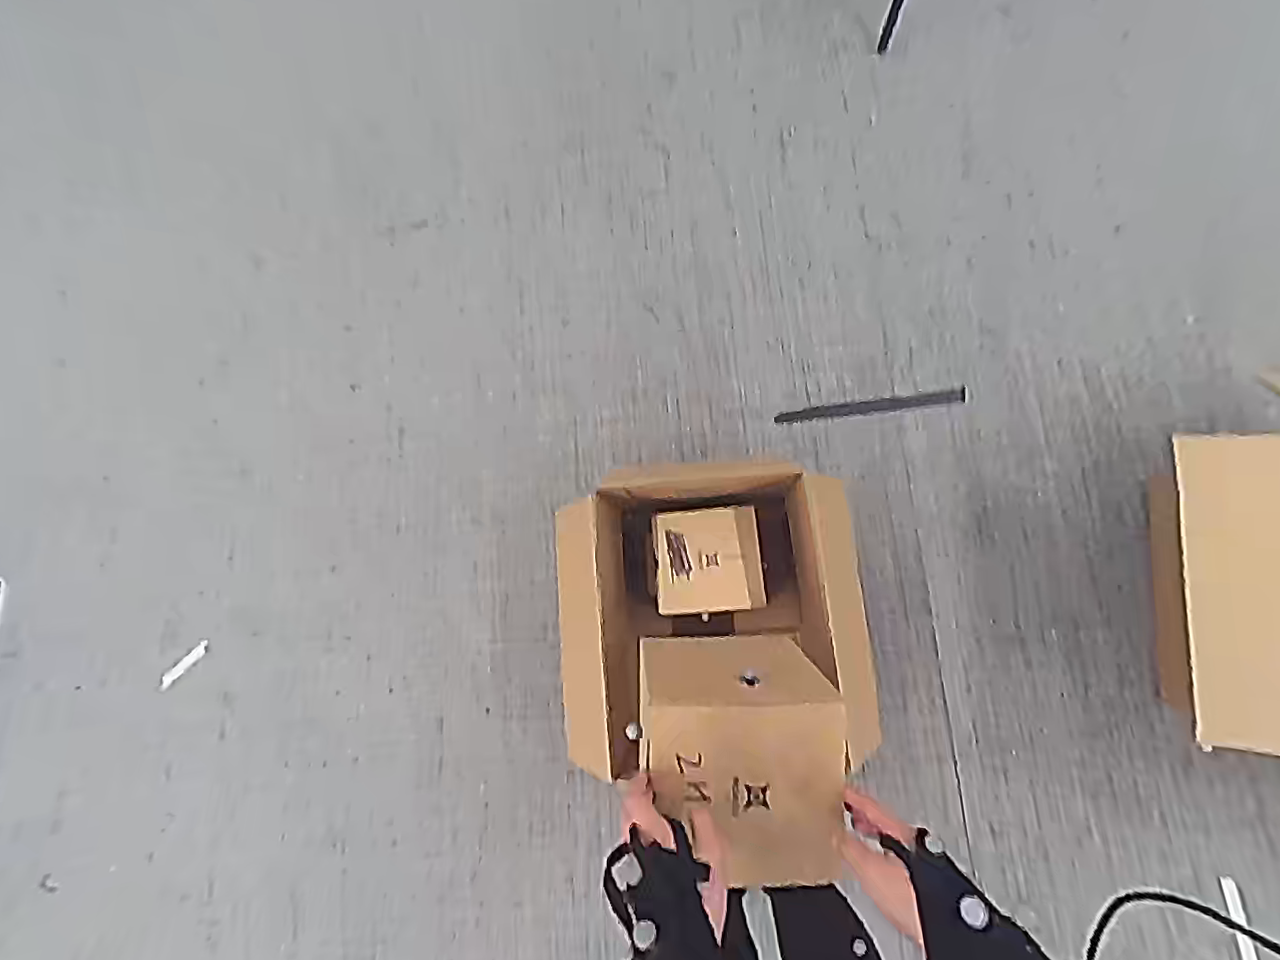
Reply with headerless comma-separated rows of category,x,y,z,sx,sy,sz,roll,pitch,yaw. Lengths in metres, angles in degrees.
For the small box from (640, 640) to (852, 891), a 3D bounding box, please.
small box,0.091,0.267,0.542,0.179,0.176,0.168,0,92,-2
